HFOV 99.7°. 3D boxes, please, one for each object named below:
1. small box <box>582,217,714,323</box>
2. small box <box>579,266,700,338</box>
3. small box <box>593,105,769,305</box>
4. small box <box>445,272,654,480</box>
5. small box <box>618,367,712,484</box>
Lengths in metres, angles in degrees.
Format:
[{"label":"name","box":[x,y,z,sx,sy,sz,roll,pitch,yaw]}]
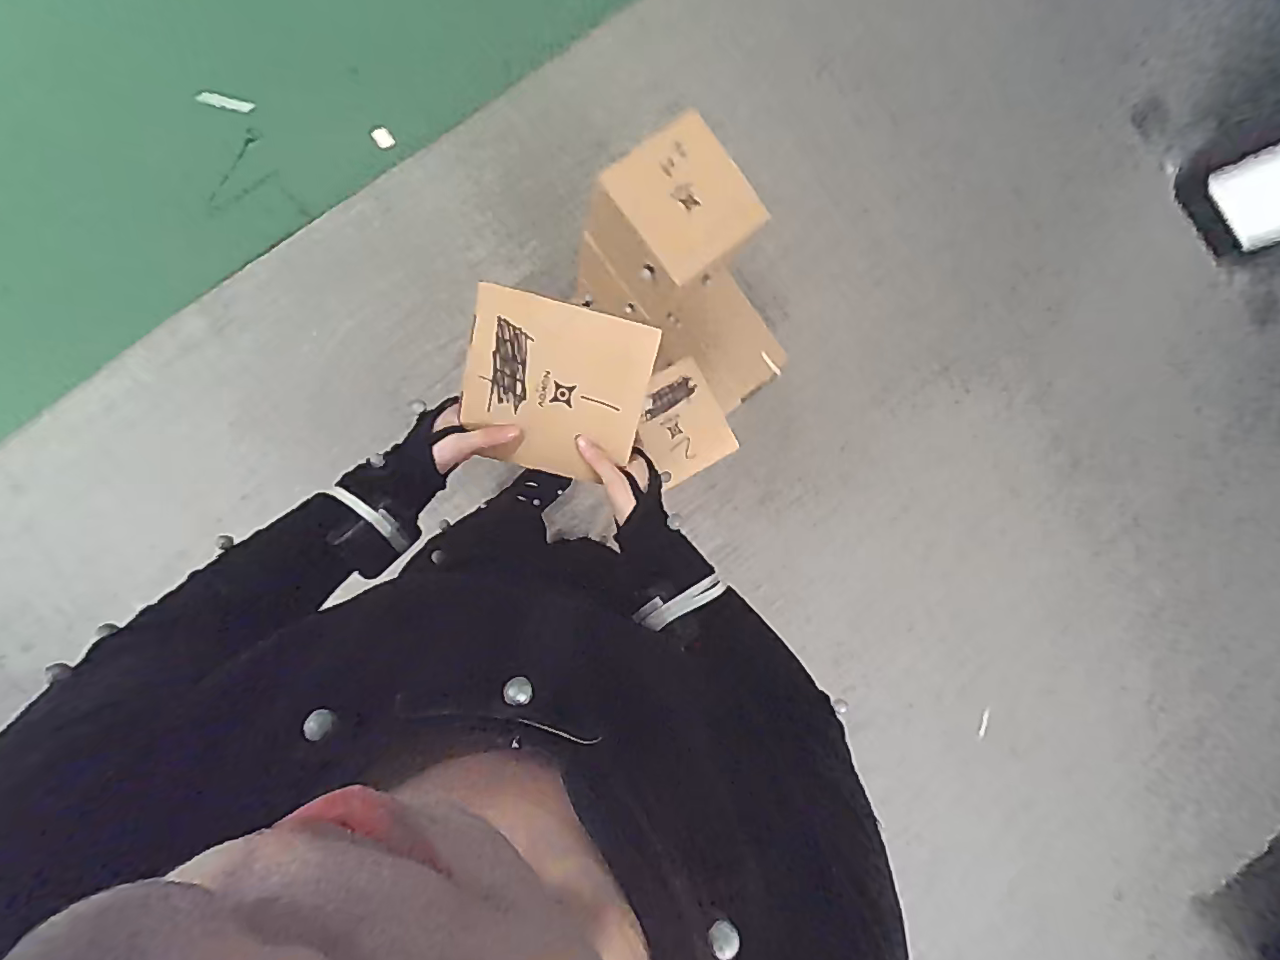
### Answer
[{"label":"small box","box":[0.013,-0.384,0.944,0.168,0.176,0.179,-39,98,-7]},{"label":"small box","box":[-0.009,-0.382,1.105,0.168,0.176,0.179,-40,96,-6]},{"label":"small box","box":[0.049,-0.376,0.783,0.168,0.176,0.179,-37,97,-7]},{"label":"small box","box":[-0.092,-0.118,0.594,0.179,0.176,0.168,12,108,-7]},{"label":"small box","box":[0.016,-0.110,1.117,0.179,0.176,0.168,-34,97,-6]}]
